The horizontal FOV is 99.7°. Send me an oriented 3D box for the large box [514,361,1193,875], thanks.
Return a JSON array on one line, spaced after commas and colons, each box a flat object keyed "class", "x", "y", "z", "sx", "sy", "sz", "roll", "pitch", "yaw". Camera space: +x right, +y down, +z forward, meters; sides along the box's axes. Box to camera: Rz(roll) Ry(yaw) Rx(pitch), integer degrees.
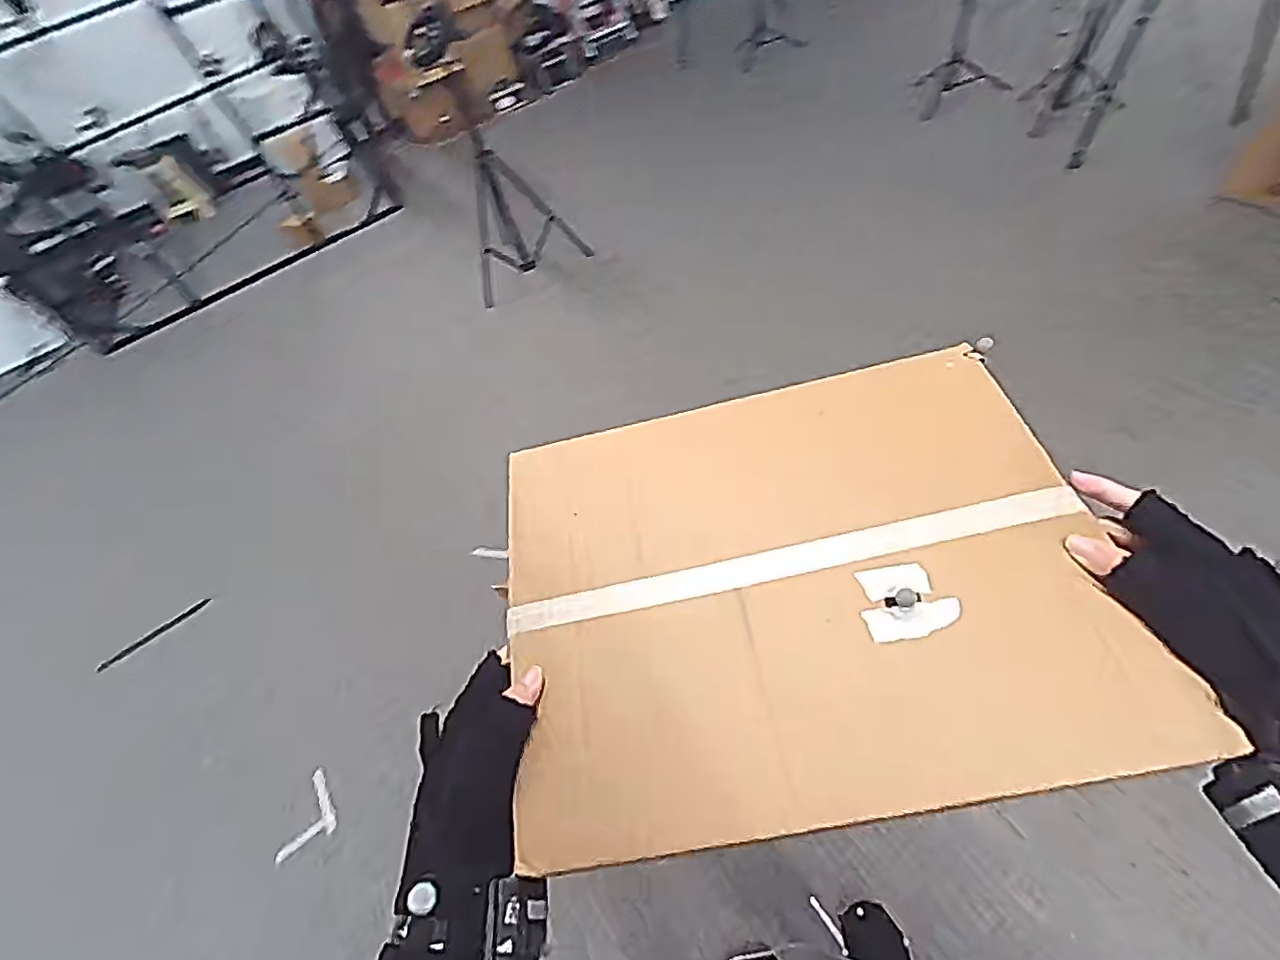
[{"class": "large box", "x": 0.127, "y": 0.146, "z": 0.524, "sx": 0.408, "sy": 0.320, "sz": 0.320, "roll": -14, "pitch": 57, "yaw": 4}]
